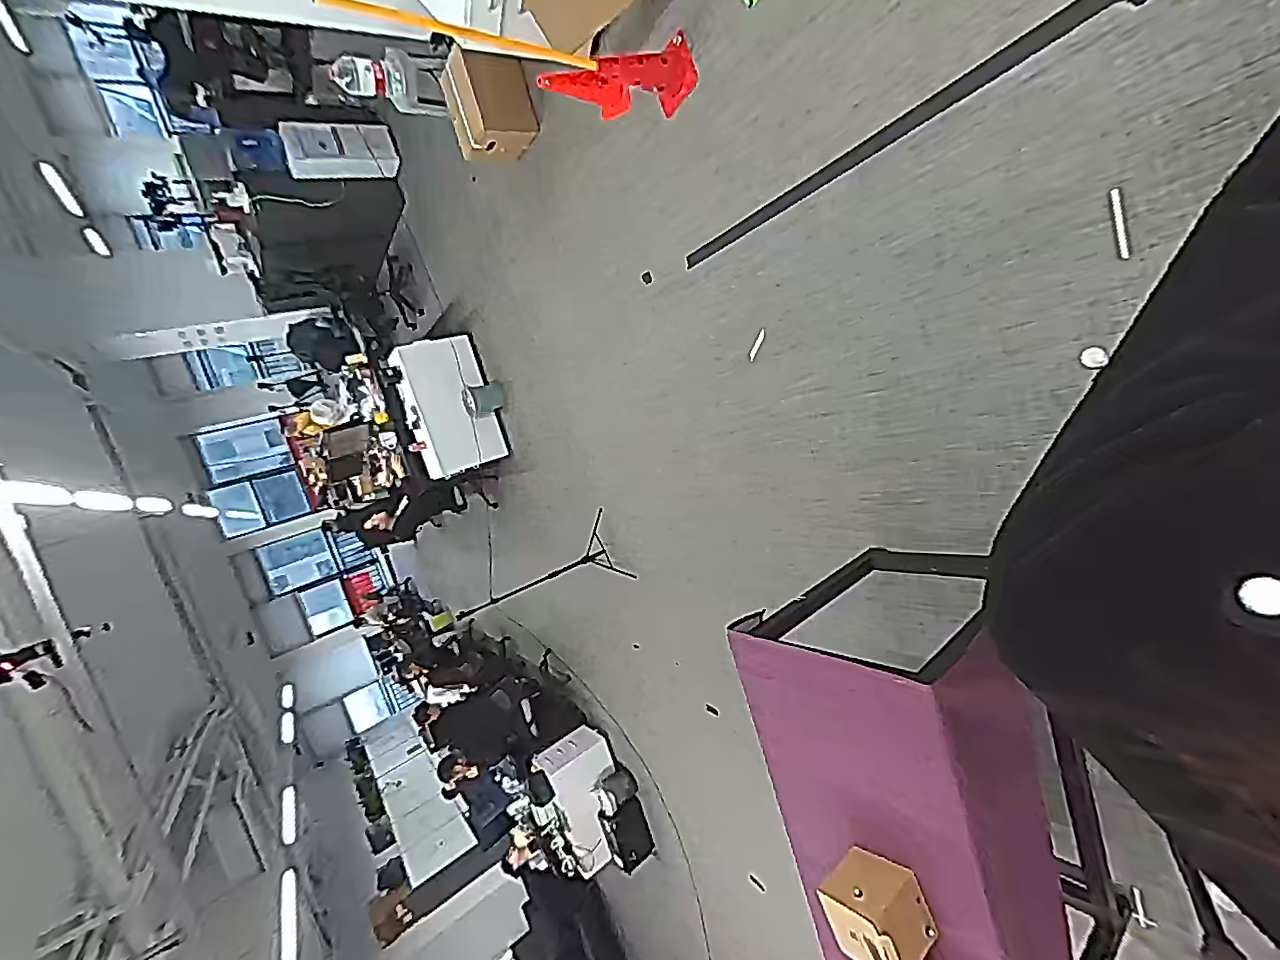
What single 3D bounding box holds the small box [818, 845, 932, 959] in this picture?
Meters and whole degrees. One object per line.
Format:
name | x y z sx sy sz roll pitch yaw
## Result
small box | 0.579 1.040 1.319 0.179 0.176 0.168 -24 88 59
